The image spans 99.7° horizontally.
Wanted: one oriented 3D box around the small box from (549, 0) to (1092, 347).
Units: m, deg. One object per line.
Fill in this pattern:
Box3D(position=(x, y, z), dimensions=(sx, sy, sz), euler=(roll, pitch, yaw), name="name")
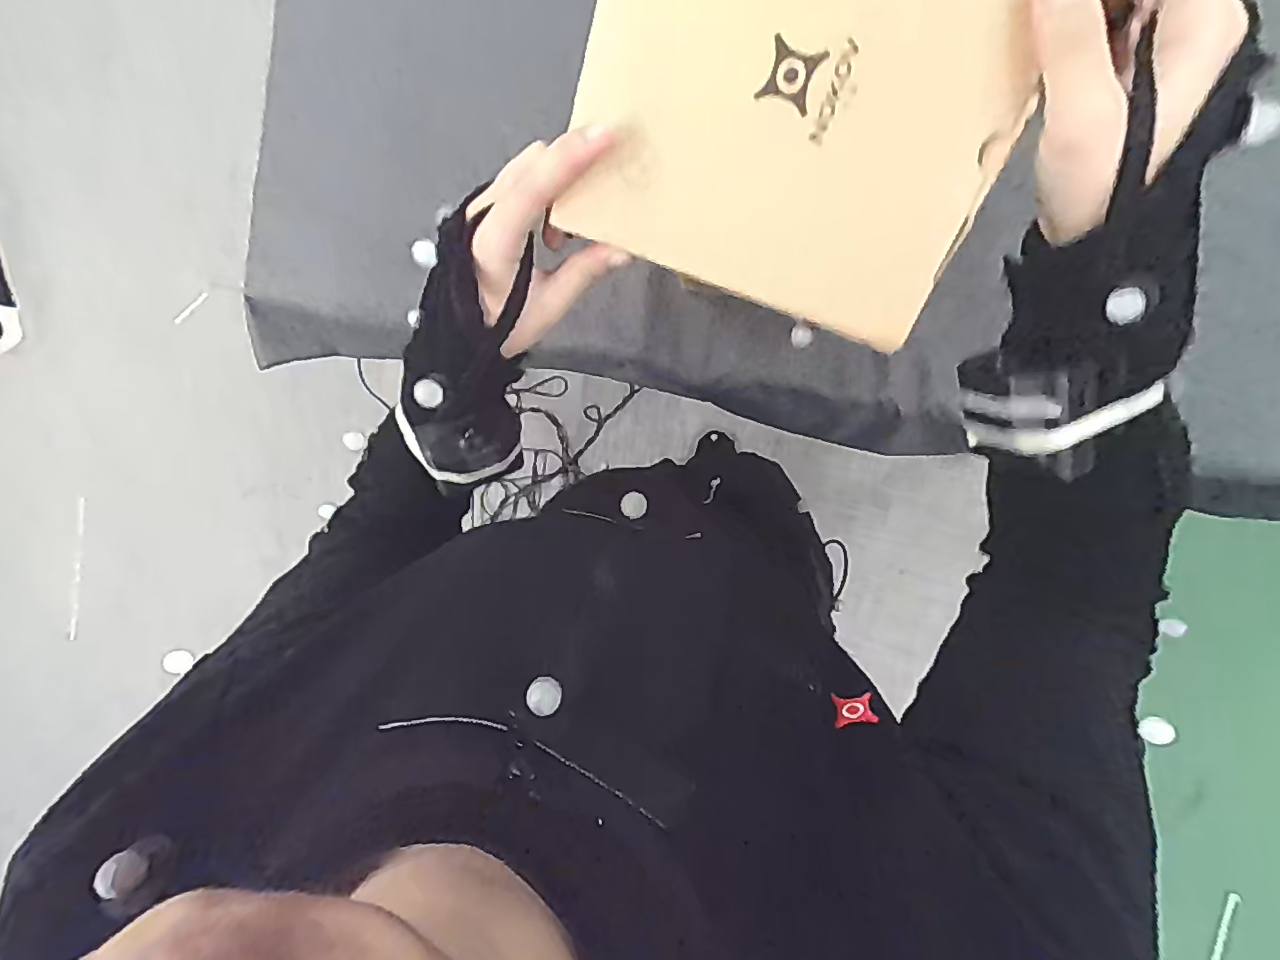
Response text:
Box3D(position=(0.075, -0.189, 0.288), dimensions=(0.179, 0.176, 0.168), euler=(20, 115, -2), name="small box")
